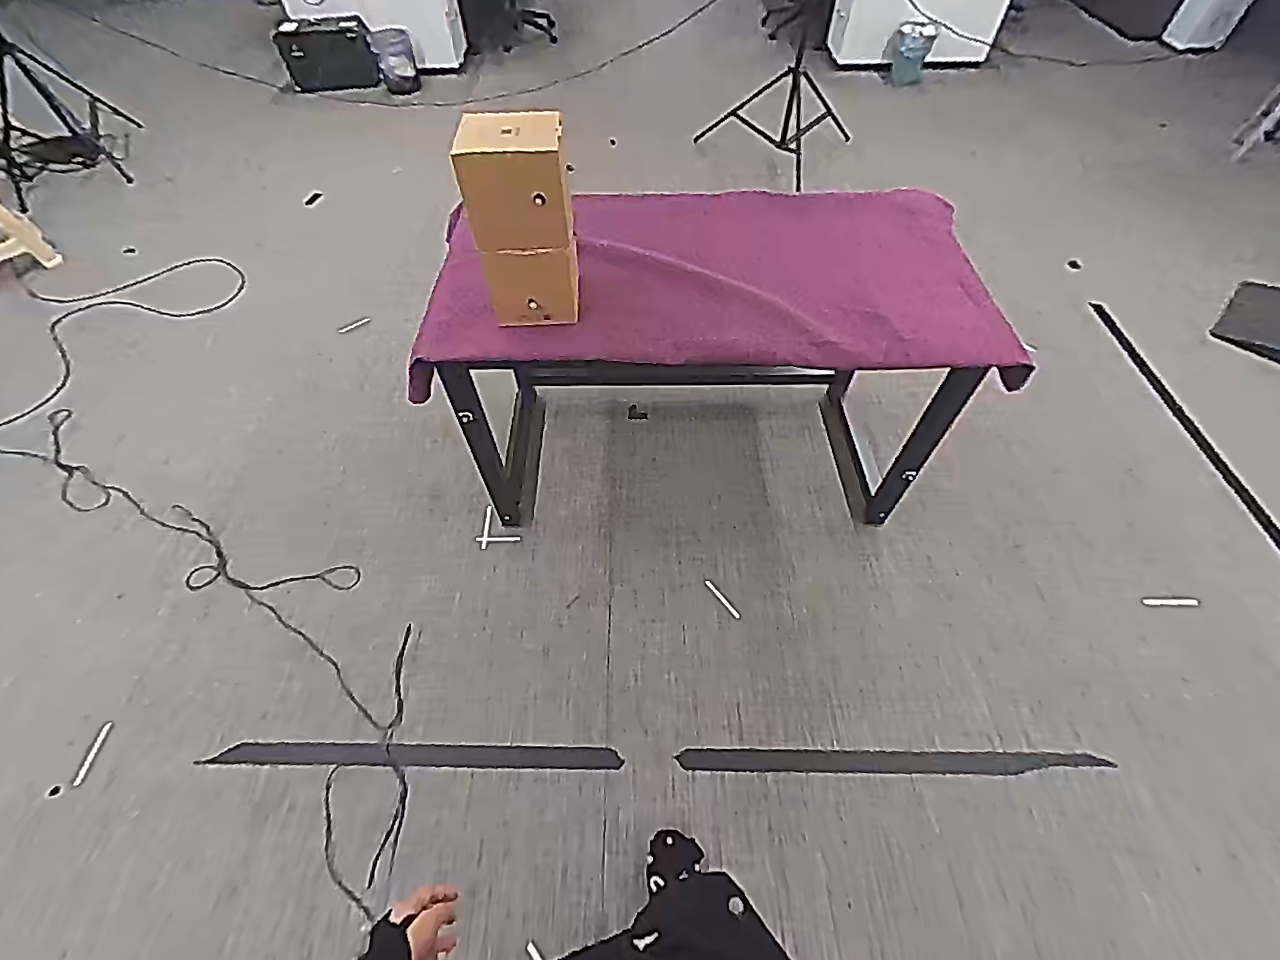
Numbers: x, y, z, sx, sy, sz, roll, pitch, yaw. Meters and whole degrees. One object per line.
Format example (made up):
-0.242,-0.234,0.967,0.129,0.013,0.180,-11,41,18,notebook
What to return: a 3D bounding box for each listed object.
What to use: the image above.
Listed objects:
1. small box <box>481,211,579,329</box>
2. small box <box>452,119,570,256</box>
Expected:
-0.218,-0.432,1.115,0.168,0.176,0.179,-3,54,-1,small box
-0.221,-0.528,0.984,0.179,0.176,0.168,-4,52,-1,small box
